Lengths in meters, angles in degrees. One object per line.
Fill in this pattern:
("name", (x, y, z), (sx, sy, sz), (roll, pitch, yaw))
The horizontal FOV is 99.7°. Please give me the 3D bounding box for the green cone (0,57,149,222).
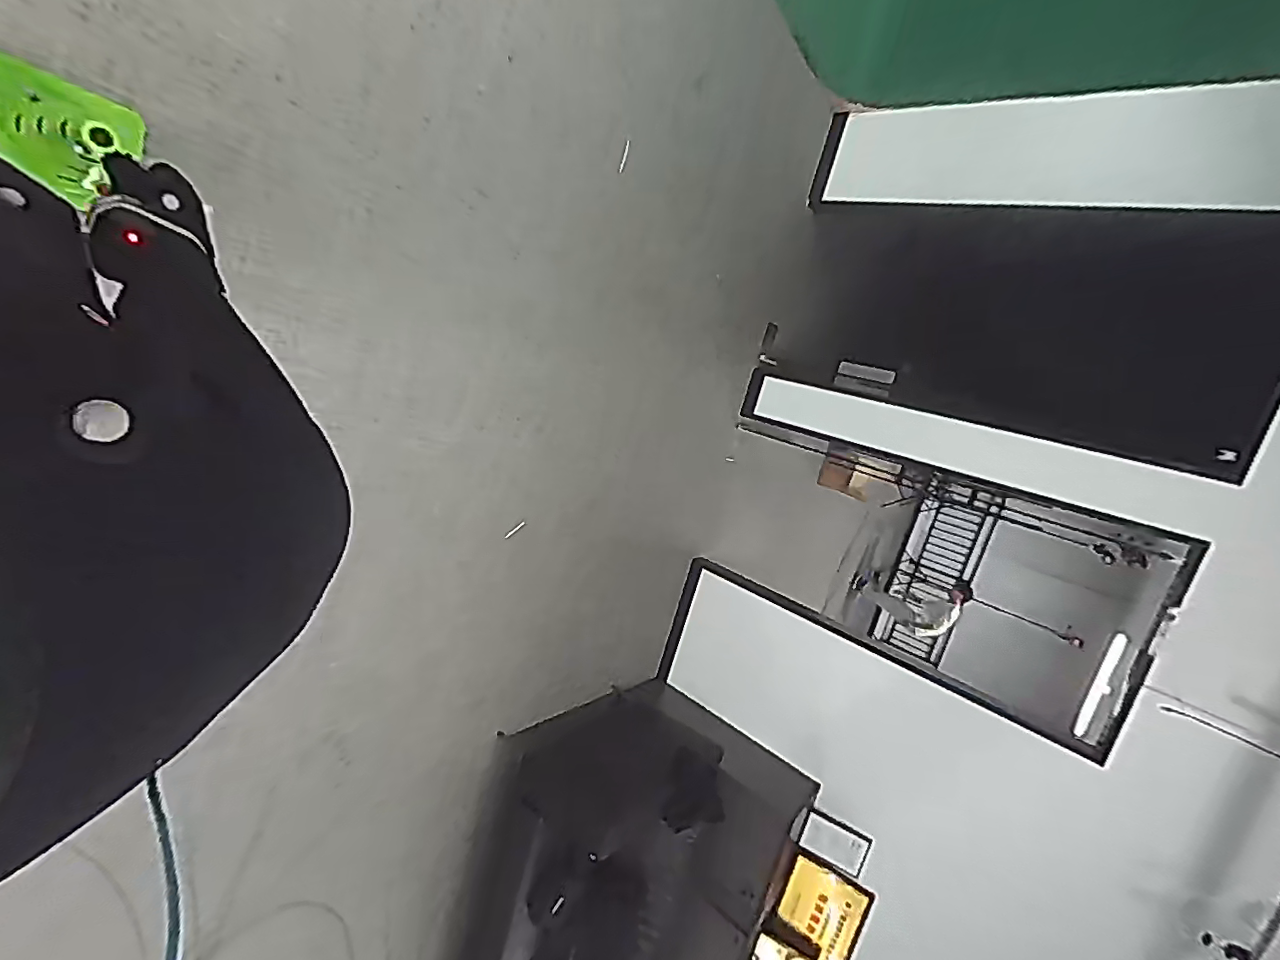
("green cone", (-0.876, -0.534, 0.848), (0.202, 0.368, 0.200), (2, 107, -52))
